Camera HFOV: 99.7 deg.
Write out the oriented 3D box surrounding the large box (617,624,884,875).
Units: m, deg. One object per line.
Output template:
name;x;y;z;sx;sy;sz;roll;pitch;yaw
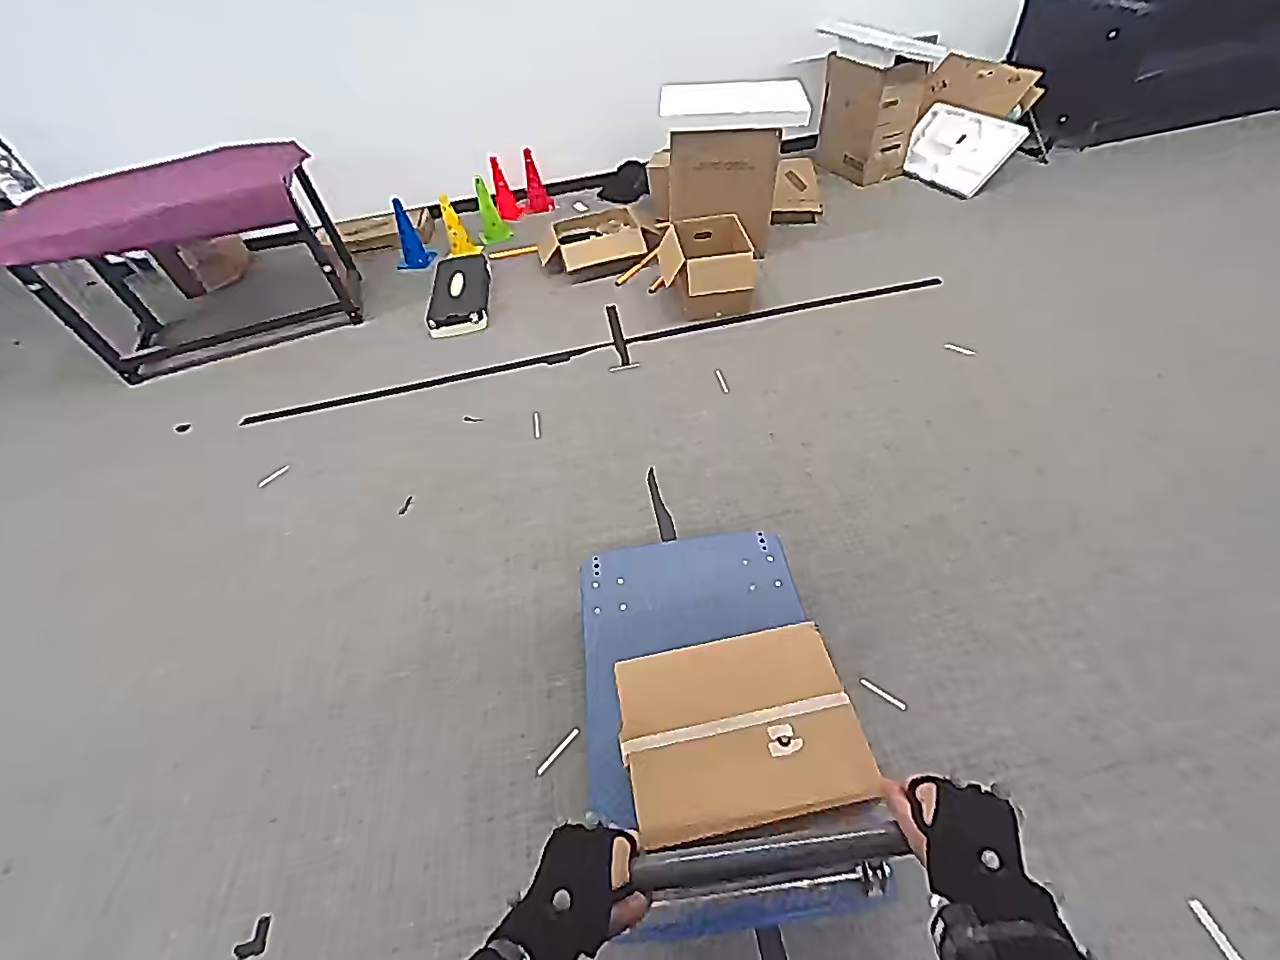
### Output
large box;0.187;0.535;1.072;0.408;0.320;0.320;-11;49;-4
